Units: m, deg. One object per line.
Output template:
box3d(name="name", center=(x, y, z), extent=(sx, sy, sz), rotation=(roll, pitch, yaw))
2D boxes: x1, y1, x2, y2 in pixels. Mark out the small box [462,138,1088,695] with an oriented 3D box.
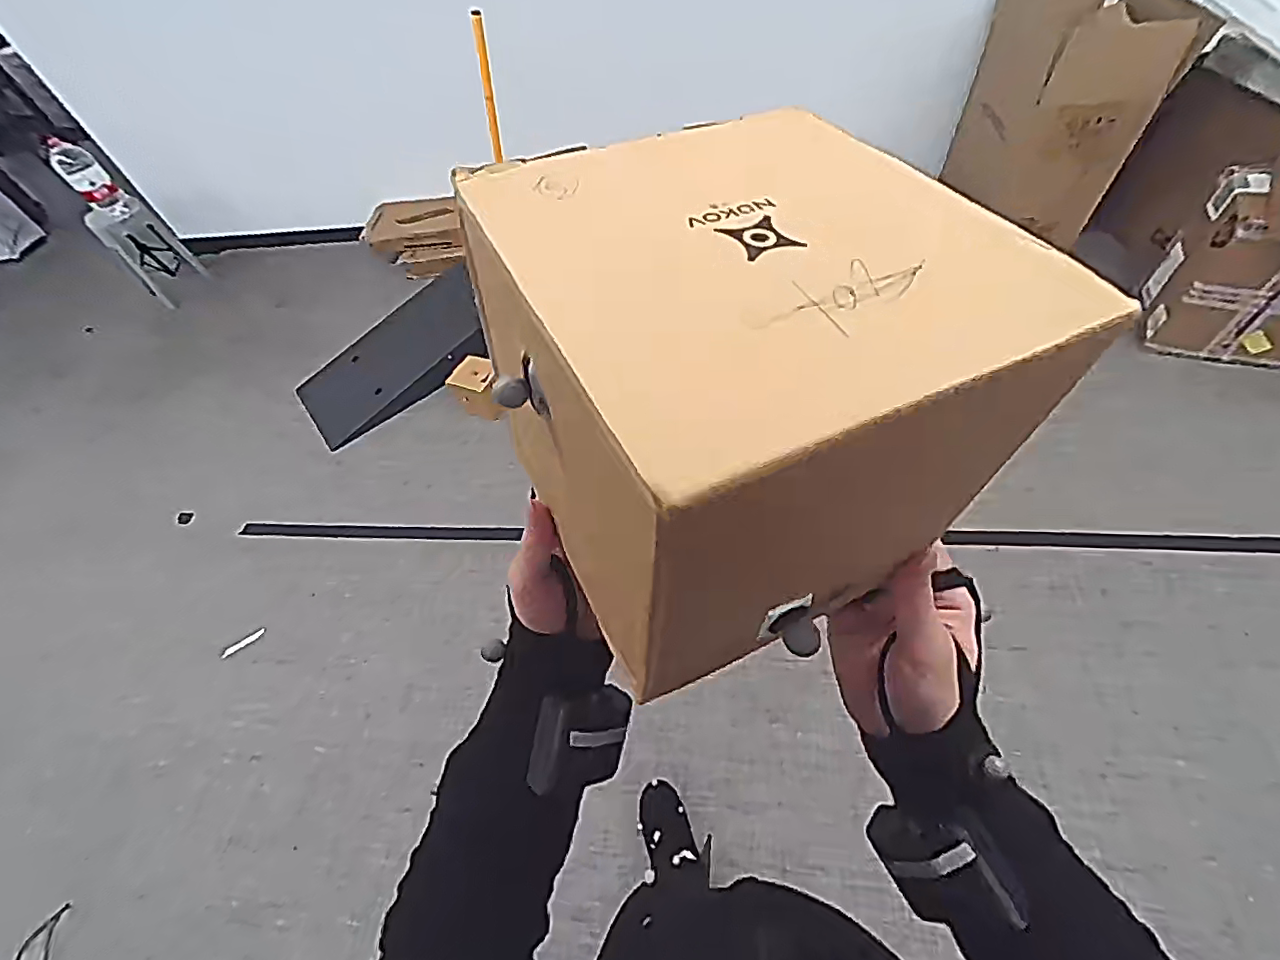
box3d(name="small box", center=(0.035, -0.028, 0.262), extent=(0.168, 0.176, 0.179), rotation=(-23, 58, -16))
